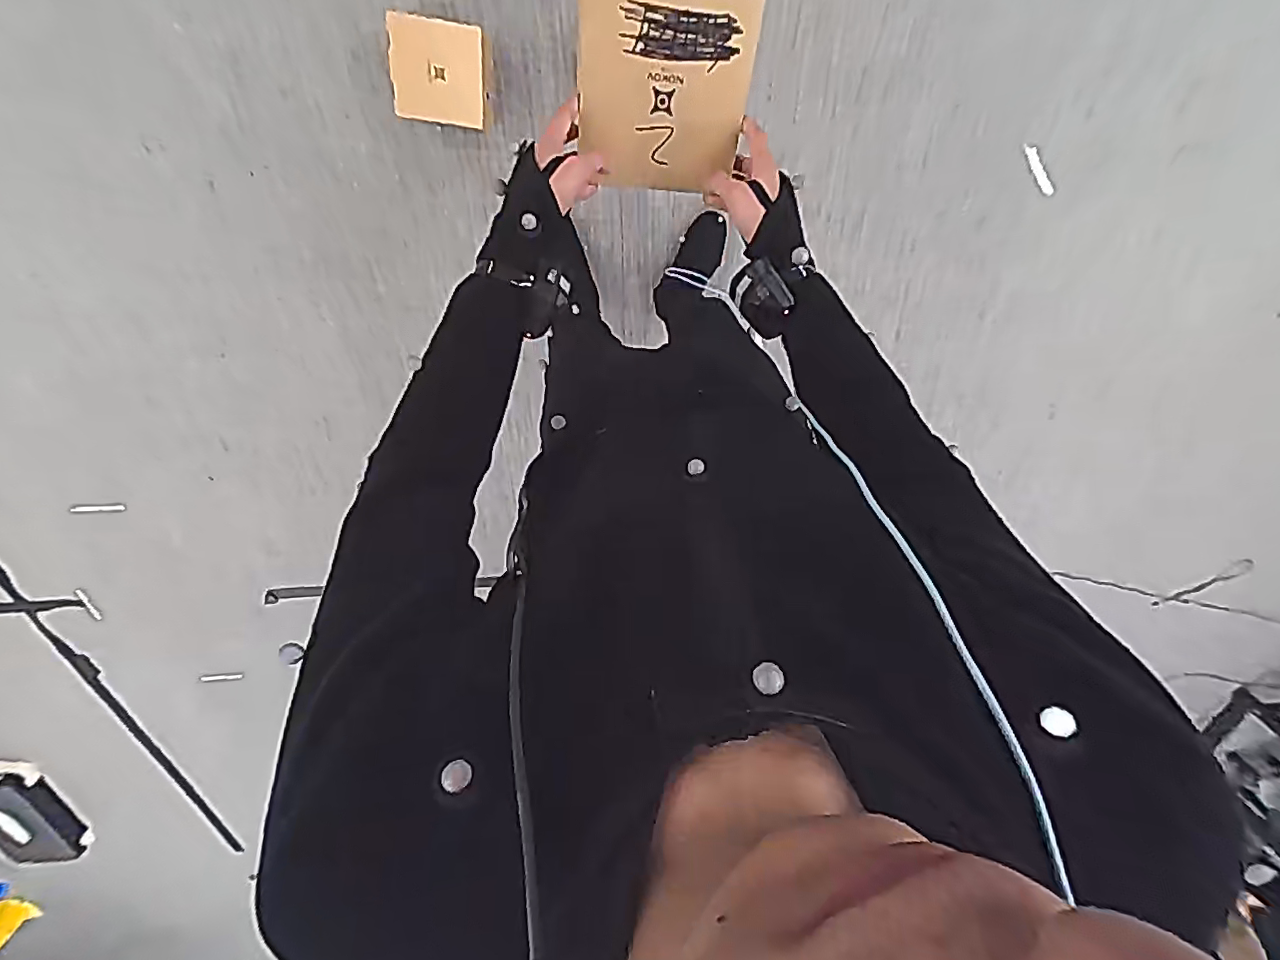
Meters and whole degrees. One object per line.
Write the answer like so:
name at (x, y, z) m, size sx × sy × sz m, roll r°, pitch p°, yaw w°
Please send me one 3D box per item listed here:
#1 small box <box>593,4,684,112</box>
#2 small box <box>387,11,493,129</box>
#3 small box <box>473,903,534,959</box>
small box at (-0.008, -0.877, 1.136) m, size 0.179 × 0.176 × 0.168 m, roll -5°, pitch 123°, yaw -4°
small box at (-0.402, -0.839, 1.120) m, size 0.179 × 0.176 × 0.168 m, roll 4°, pitch 122°, yaw -8°
small box at (-0.432, 1.479, 1.723) m, size 0.168 × 0.176 × 0.179 m, roll -2°, pitch 123°, yaw -5°
